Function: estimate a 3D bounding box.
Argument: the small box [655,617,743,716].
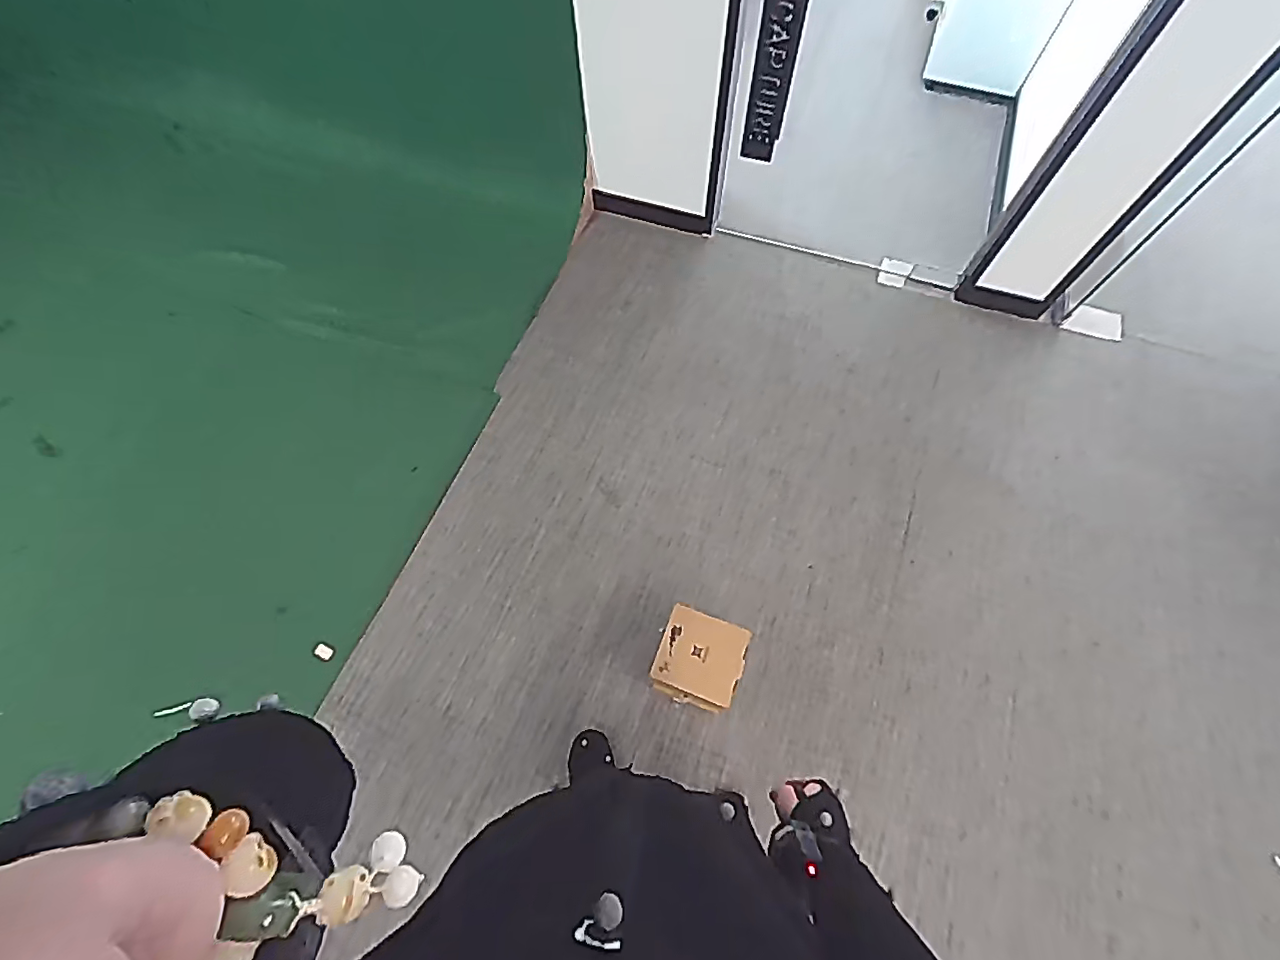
[{"bbox_3d":[0.143,0.467,1.343,0.168,0.176,0.179,20,68,12],"label":"small box"}]
